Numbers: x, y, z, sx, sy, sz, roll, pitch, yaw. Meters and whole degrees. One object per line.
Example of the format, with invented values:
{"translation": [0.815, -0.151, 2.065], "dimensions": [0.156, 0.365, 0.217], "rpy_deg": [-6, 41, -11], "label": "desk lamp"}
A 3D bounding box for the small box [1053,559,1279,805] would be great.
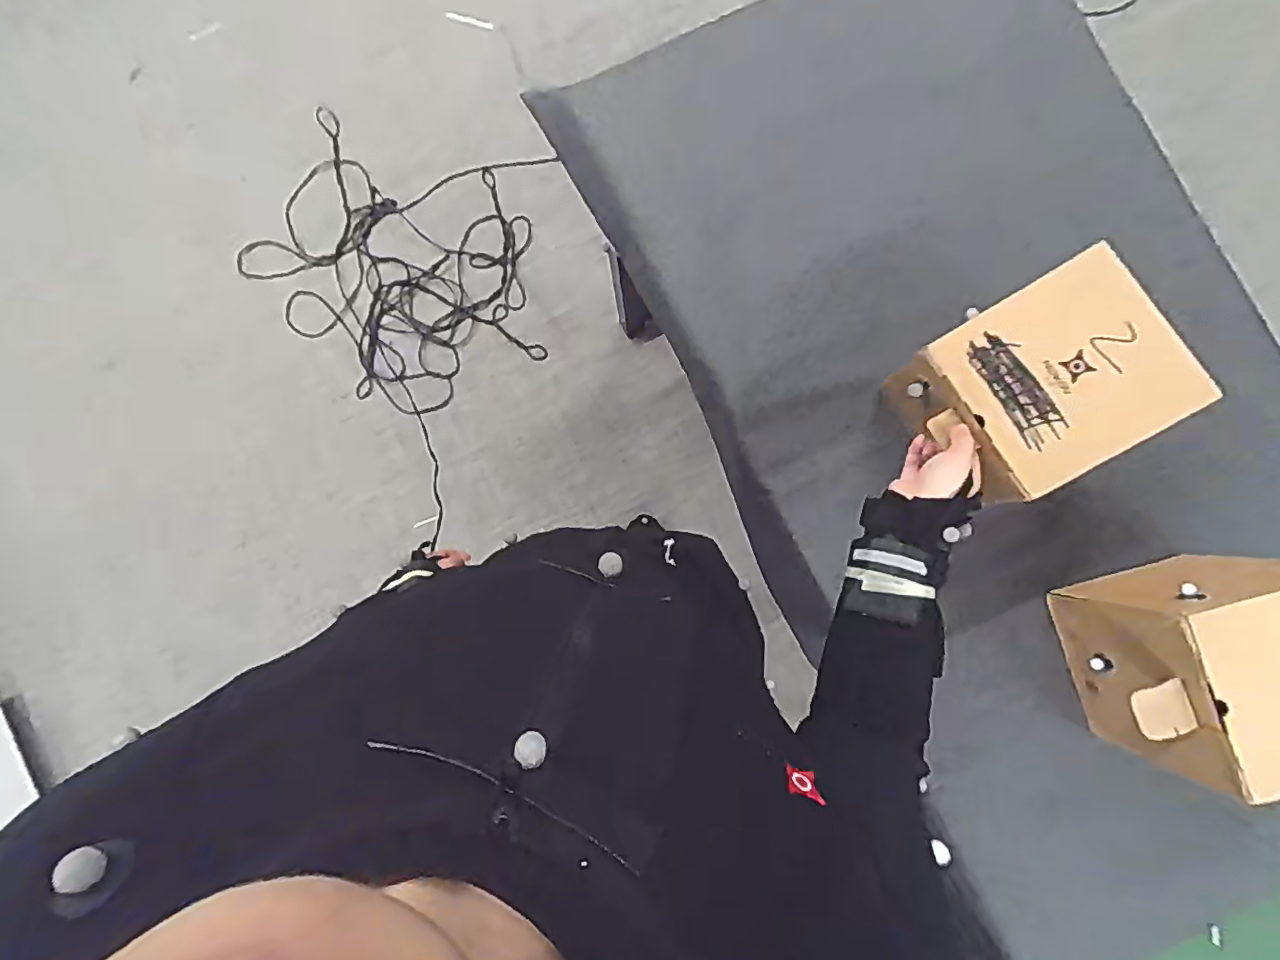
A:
{"translation": [0.578, 0.181, 0.542], "dimensions": [0.179, 0.176, 0.168], "rpy_deg": [-16, 85, 0], "label": "small box"}
